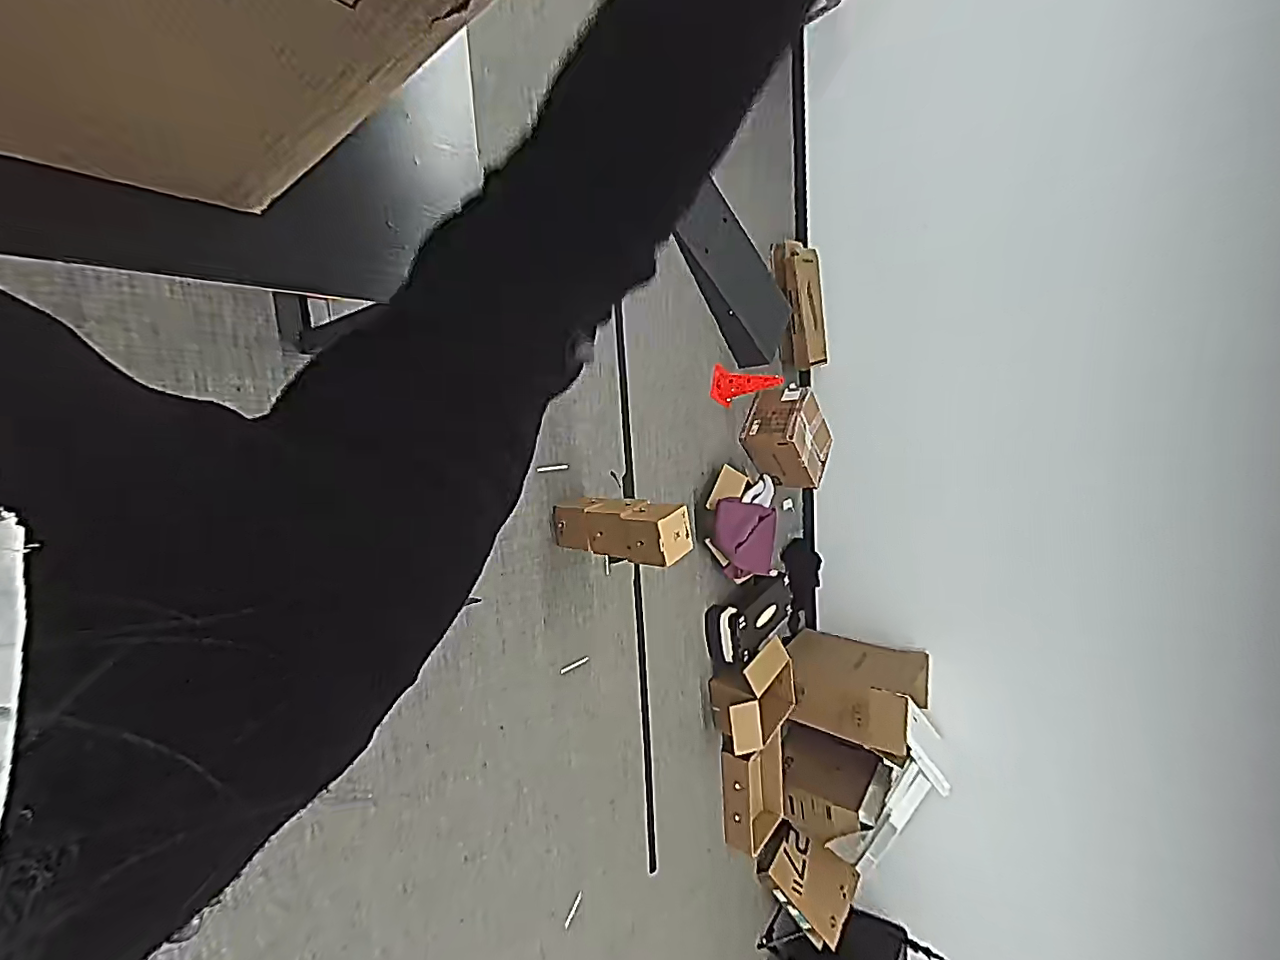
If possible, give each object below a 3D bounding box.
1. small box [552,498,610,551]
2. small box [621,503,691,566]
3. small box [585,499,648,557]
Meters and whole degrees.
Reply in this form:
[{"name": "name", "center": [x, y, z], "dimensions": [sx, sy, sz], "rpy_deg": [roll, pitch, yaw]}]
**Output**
[{"name": "small box", "center": [-0.212, 0.165, 2.077], "dimensions": [0.179, 0.176, 0.168], "rpy_deg": [-15, 102, -49]}, {"name": "small box", "center": [0.050, 0.185, 1.879], "dimensions": [0.179, 0.176, 0.168], "rpy_deg": [-25, 110, -48]}, {"name": "small box", "center": [-0.076, 0.170, 1.984], "dimensions": [0.179, 0.176, 0.168], "rpy_deg": [-23, 107, -49]}]
